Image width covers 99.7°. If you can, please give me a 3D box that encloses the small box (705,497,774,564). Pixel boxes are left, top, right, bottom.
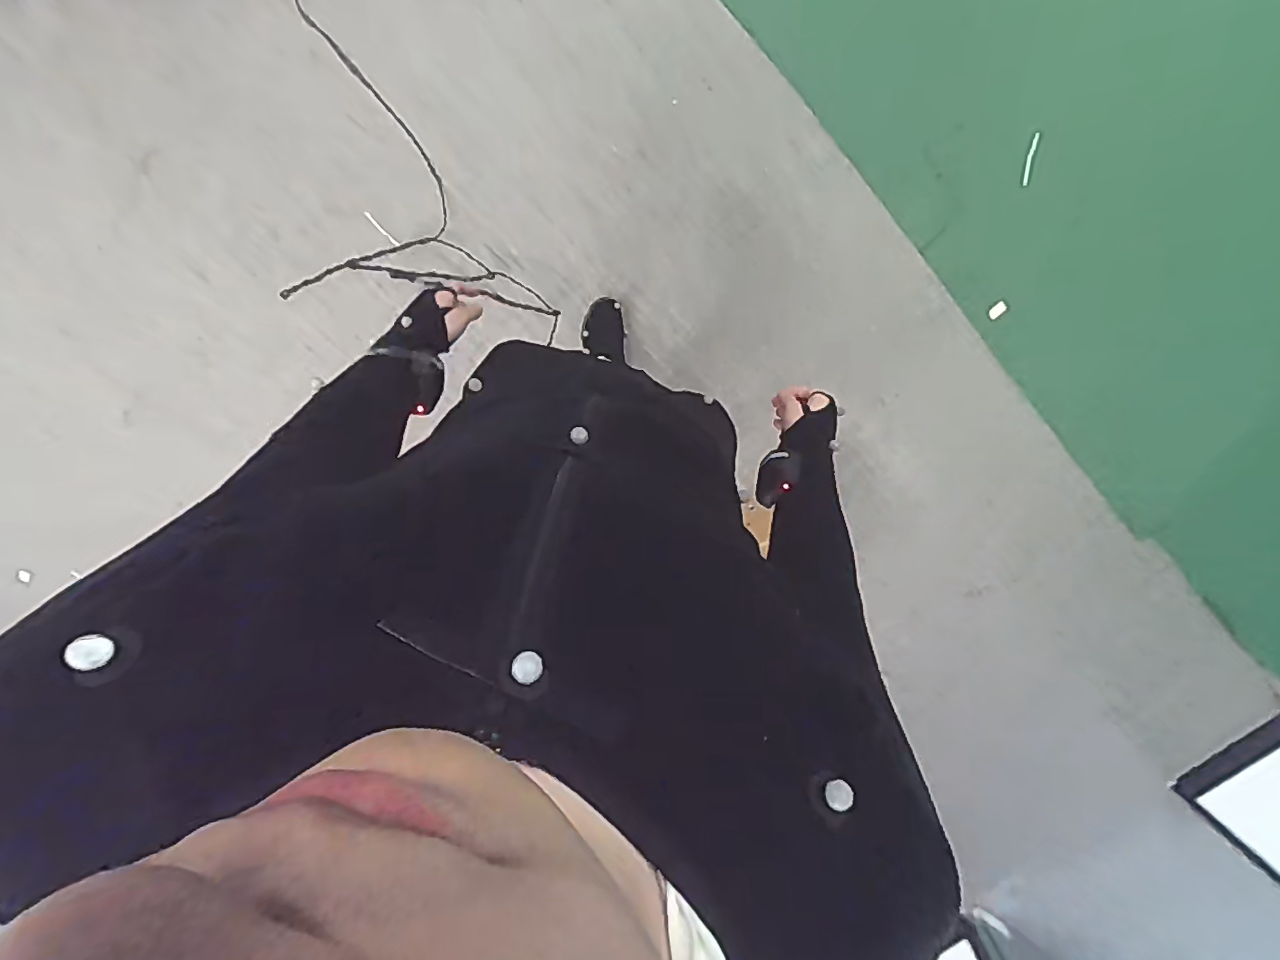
[{"bbox_3d":[0.302,0.167,1.611,0.168,0.176,0.179,-21,107,6],"label":"small box"}]
